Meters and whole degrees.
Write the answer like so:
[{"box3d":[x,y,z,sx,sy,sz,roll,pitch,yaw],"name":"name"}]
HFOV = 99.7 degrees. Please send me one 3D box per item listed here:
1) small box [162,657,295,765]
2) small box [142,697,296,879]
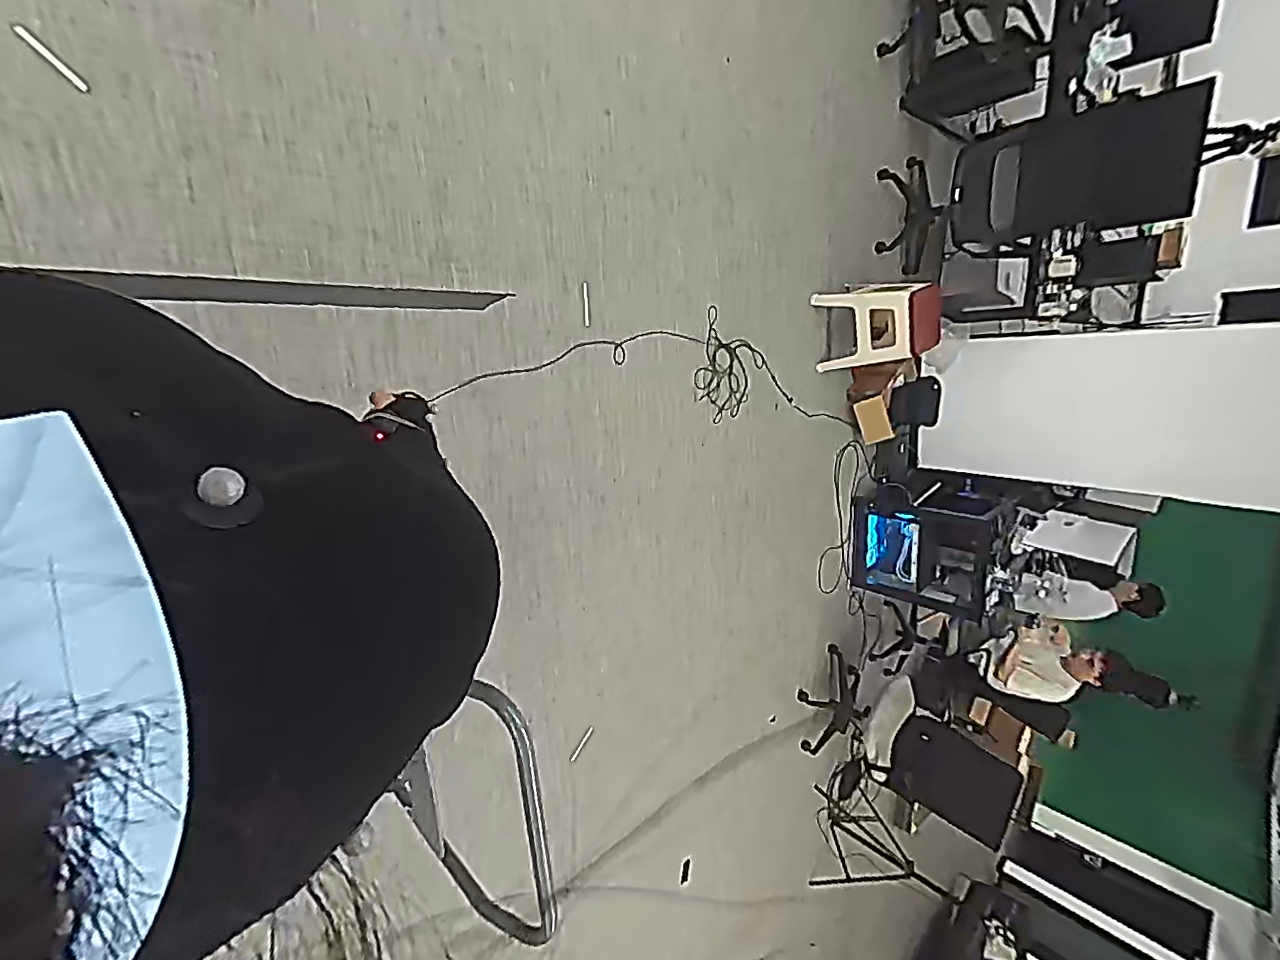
[{"box3d":[-0.809,0.485,1.067,0.168,0.176,0.179,-20,110,-38],"name":"small box"},{"box3d":[-0.720,0.513,0.930,0.168,0.176,0.179,-19,110,-39],"name":"small box"}]
